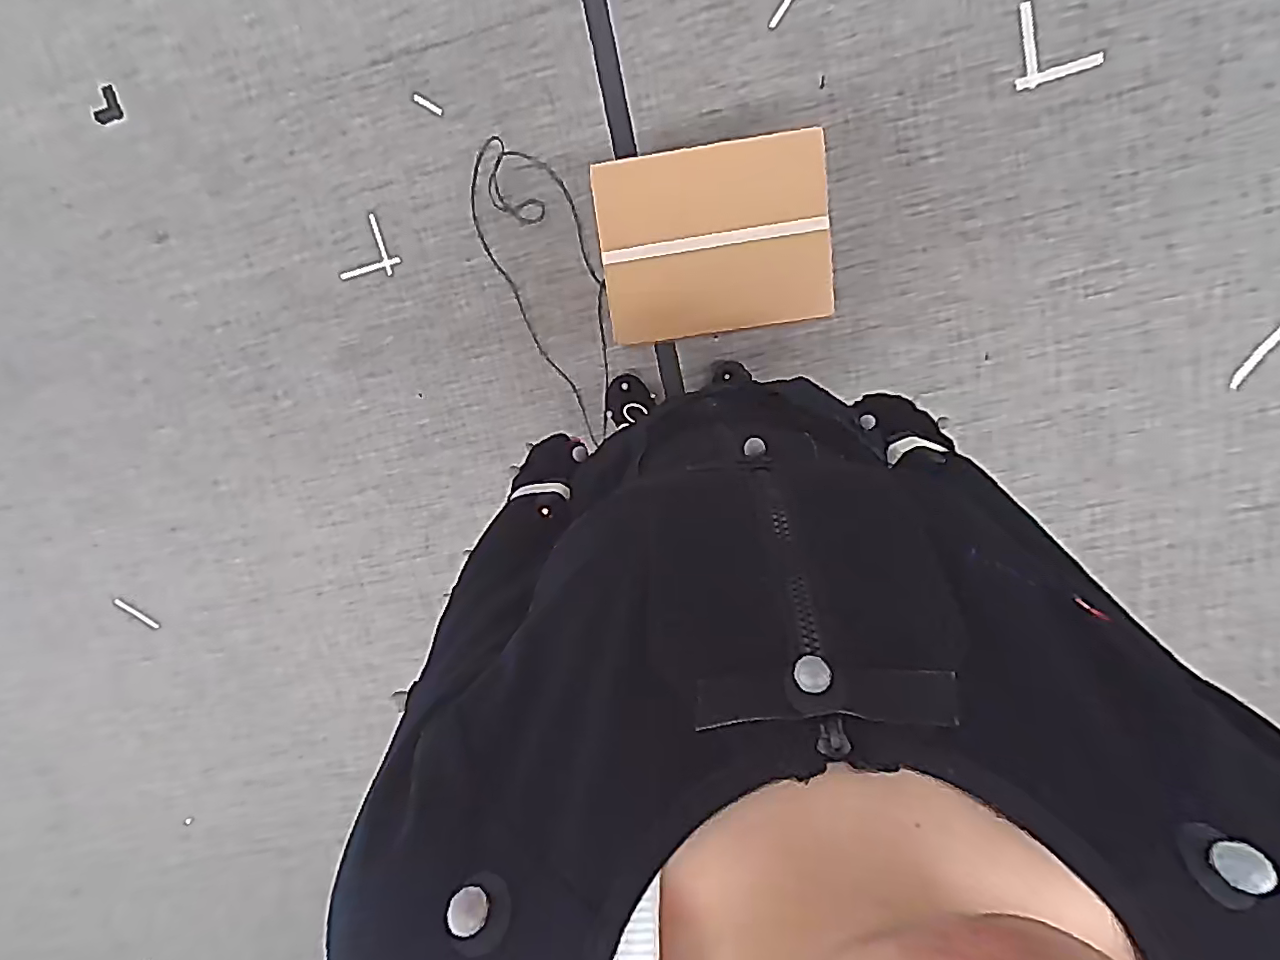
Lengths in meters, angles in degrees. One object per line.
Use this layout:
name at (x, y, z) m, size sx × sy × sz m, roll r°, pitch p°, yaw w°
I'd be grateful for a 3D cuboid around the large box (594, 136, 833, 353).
large box at (0.140, -0.447, 1.113) m, size 0.408 × 0.320 × 0.320 m, roll -7°, pitch 103°, yaw 4°
